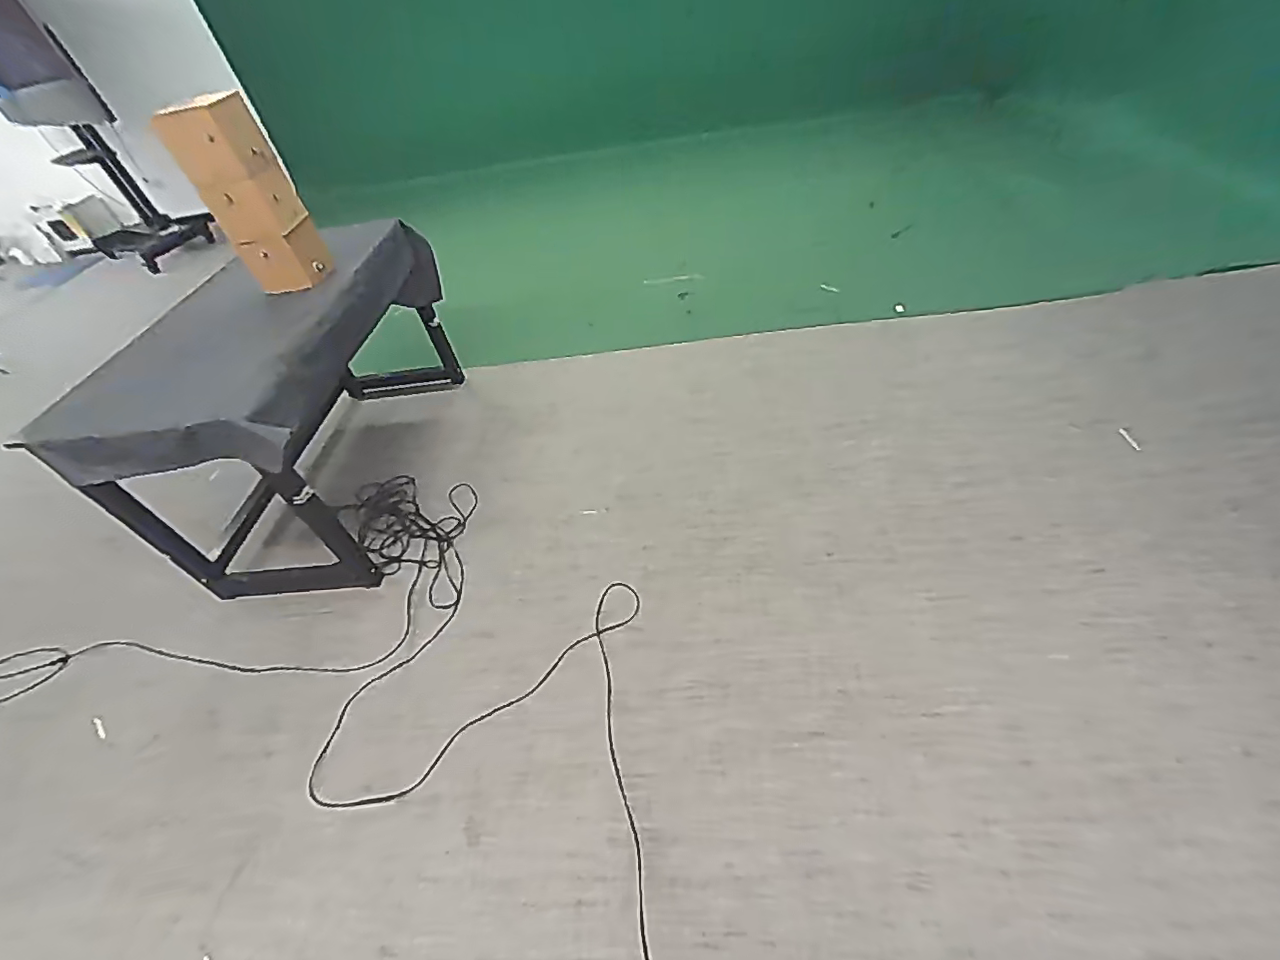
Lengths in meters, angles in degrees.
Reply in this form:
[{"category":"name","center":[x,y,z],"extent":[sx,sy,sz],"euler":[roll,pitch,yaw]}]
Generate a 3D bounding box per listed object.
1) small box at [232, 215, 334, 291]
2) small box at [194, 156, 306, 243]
[{"category":"small box","center":[-1.123,-0.717,1.717],"extent":[0.179,0.176,0.168],"euler":[-4,47,7]},{"category":"small box","center":[-1.138,-0.825,1.597],"extent":[0.179,0.176,0.168],"euler":[-6,47,7]}]
